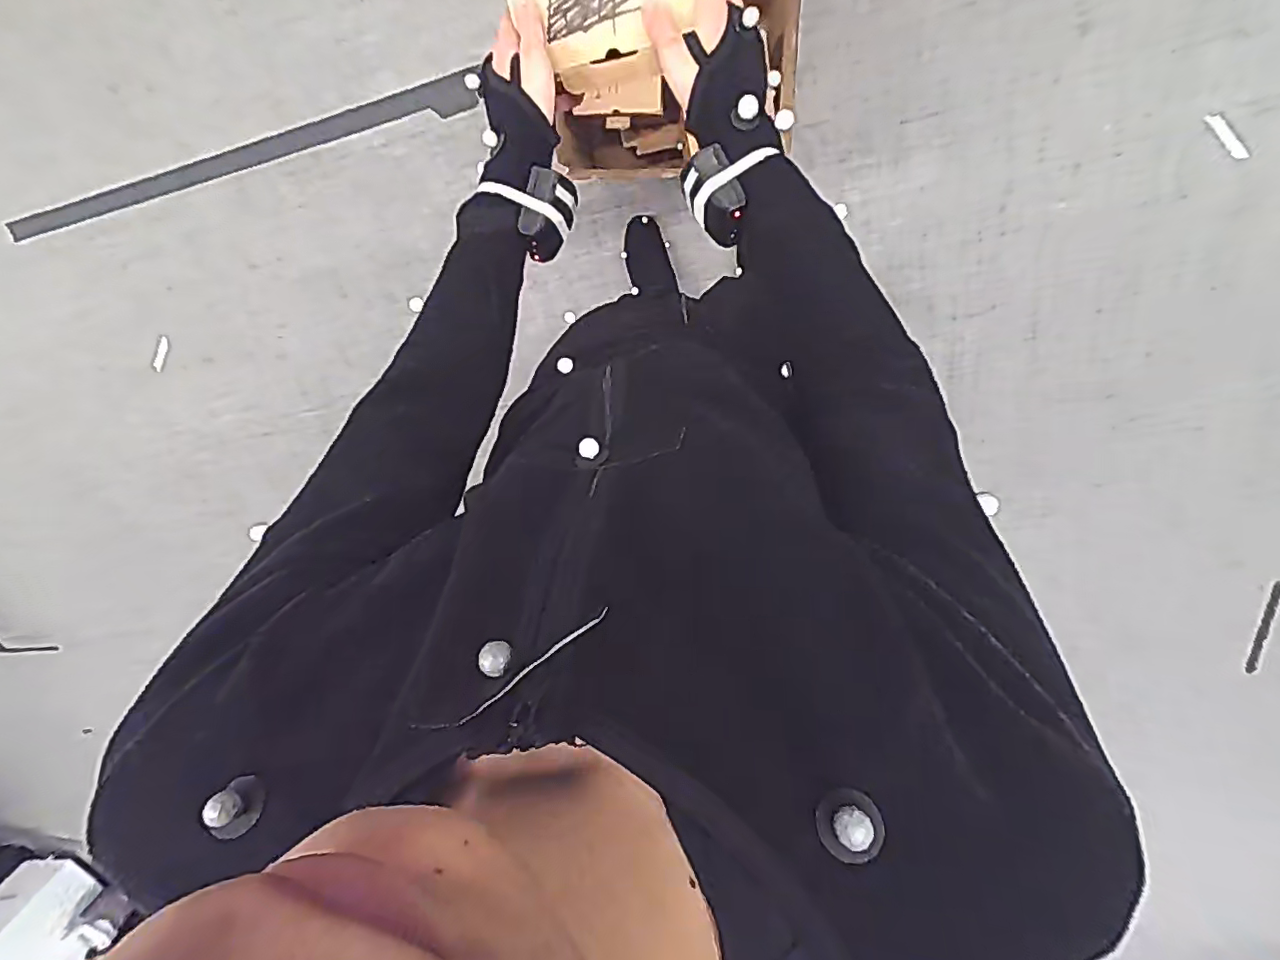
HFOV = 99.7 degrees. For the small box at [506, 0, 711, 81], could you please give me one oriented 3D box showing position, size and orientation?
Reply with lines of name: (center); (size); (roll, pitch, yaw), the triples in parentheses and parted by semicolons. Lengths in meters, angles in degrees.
small box: (-0.027, -0.483, 0.488); (0.168, 0.176, 0.179); (-4, 125, 12)
